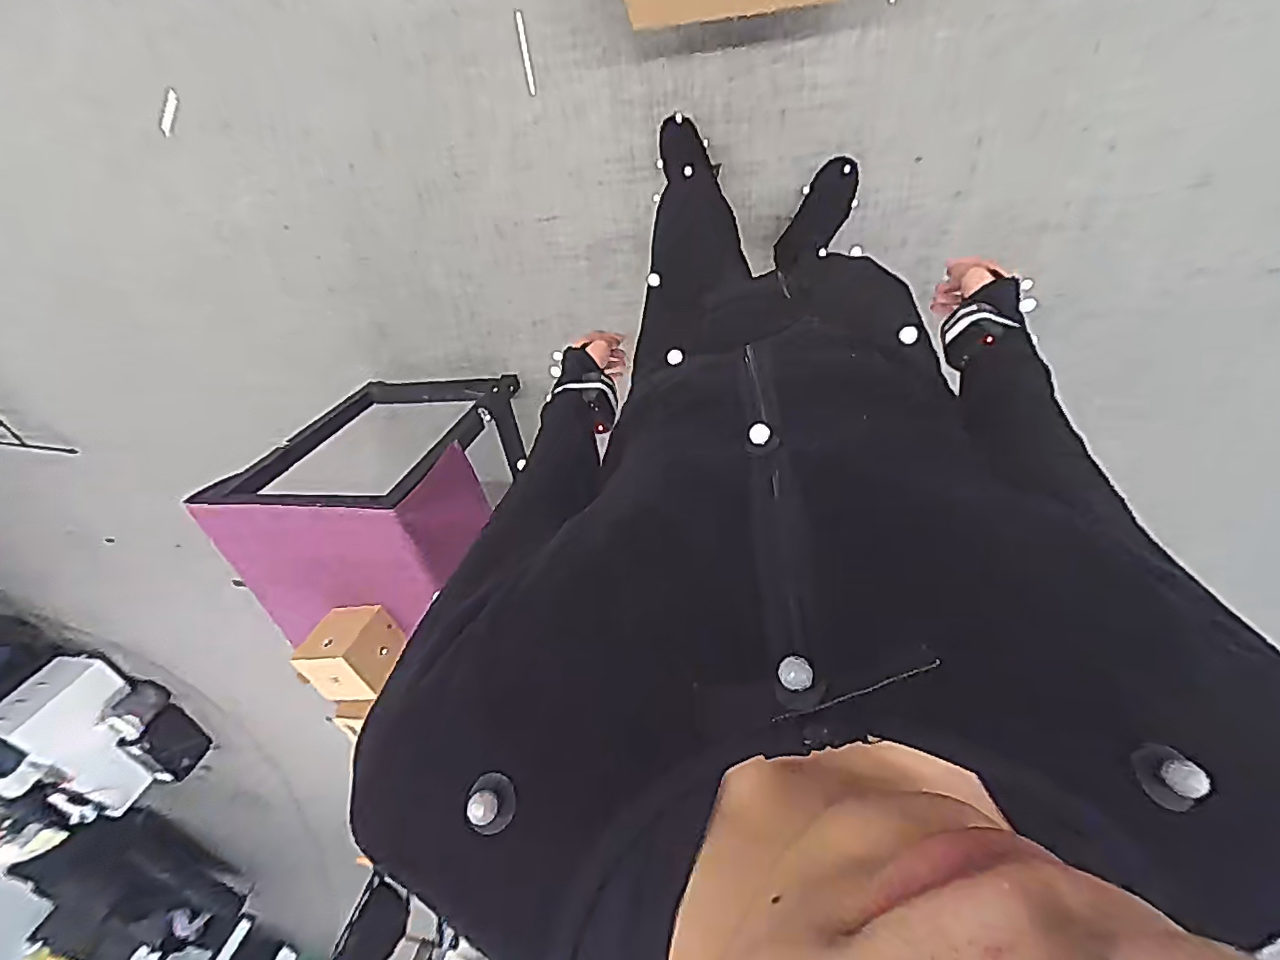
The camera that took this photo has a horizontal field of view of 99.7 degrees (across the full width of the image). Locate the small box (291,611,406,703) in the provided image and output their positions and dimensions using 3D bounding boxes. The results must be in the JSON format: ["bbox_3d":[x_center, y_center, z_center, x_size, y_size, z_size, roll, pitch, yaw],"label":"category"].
[{"bbox_3d":[-0.742,0.456,1.407,0.179,0.176,0.168,-8,122,19],"label":"small box"}]

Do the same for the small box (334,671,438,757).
[{"bbox_3d":[-0.720,0.664,1.552,0.179,0.176,0.168,-4,124,15],"label":"small box"}]
